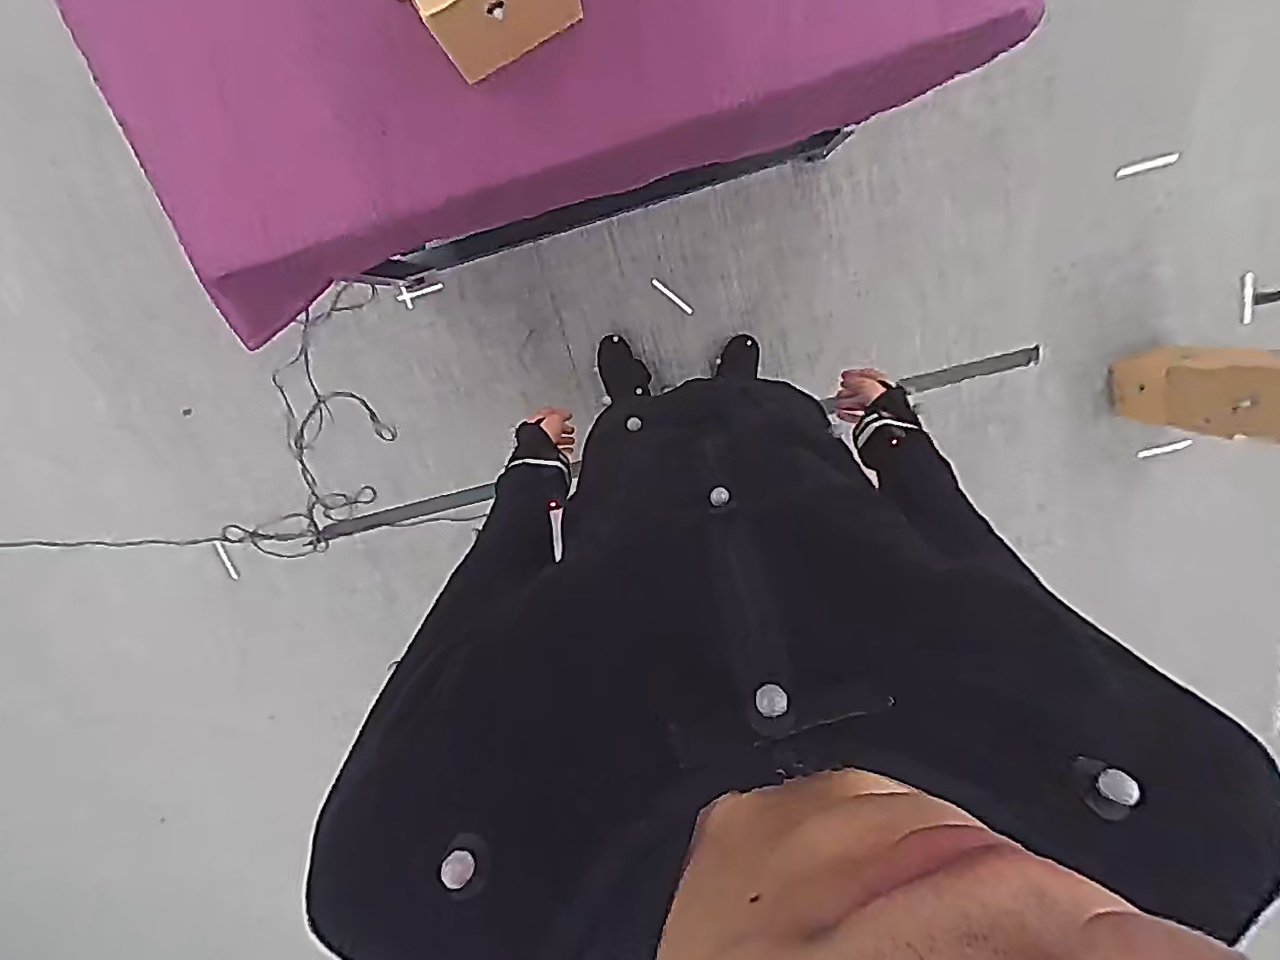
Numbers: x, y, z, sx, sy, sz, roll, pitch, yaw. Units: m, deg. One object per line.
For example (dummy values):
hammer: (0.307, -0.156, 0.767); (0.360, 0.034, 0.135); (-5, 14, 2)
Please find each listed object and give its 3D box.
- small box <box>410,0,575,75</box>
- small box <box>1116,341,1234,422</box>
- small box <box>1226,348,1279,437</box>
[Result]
small box: (-0.190, -0.616, 0.616); (0.179, 0.176, 0.168); (-26, 105, 7)
small box: (1.454, -0.273, 1.481); (0.179, 0.176, 0.168); (-19, 106, 5)
small box: (1.439, -0.196, 1.159); (0.179, 0.176, 0.168); (-14, 107, 5)
